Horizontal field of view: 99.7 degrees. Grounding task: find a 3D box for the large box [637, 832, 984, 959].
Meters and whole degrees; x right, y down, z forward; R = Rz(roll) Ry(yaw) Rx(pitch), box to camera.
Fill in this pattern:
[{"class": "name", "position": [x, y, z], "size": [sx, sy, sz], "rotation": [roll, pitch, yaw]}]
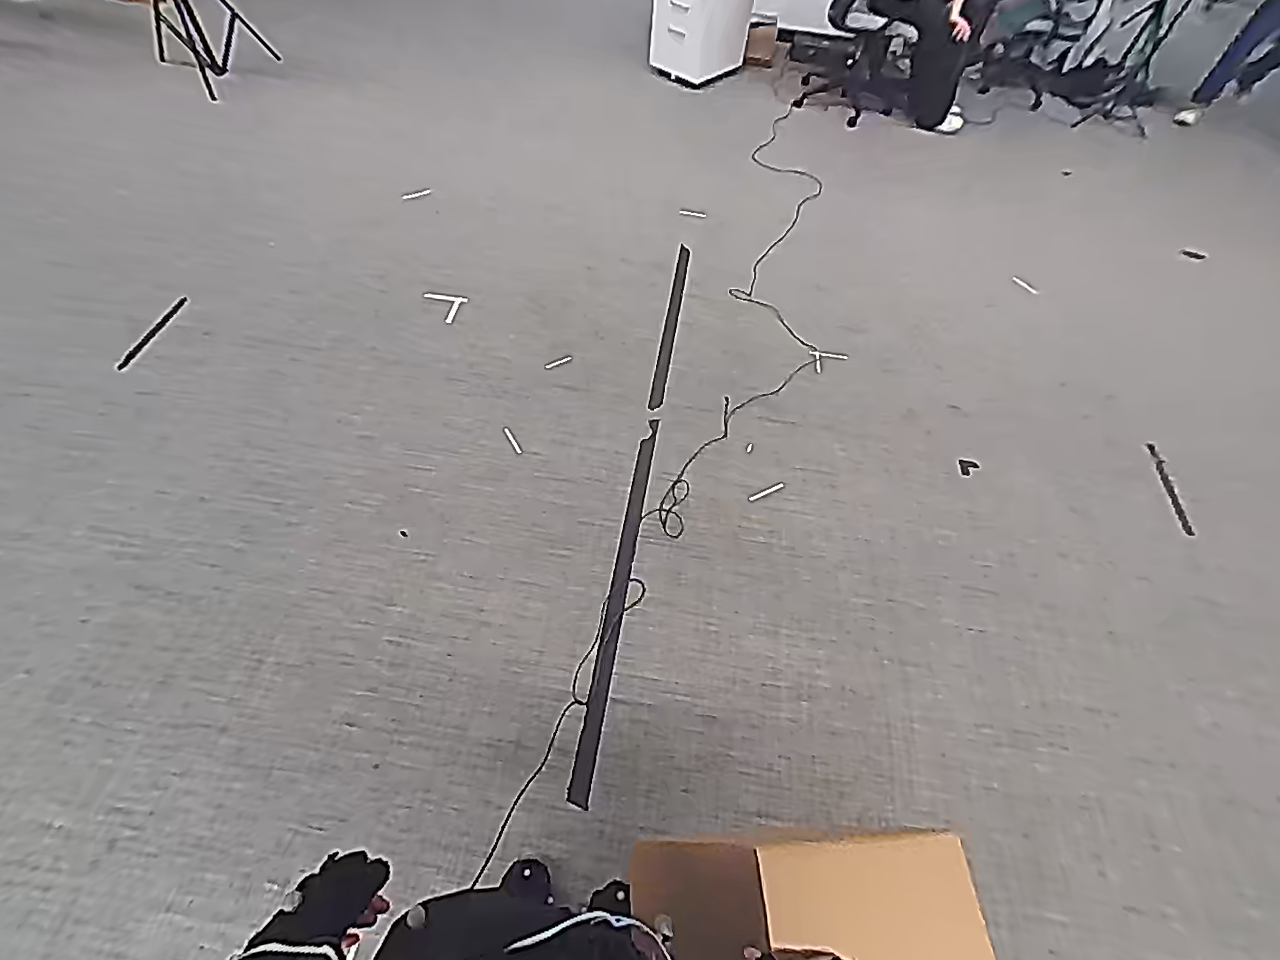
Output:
[{"class": "large box", "position": [0.212, 0.680, 0.743], "size": [0.320, 0.408, 0.320], "rotation": [10, 56, -18]}]
